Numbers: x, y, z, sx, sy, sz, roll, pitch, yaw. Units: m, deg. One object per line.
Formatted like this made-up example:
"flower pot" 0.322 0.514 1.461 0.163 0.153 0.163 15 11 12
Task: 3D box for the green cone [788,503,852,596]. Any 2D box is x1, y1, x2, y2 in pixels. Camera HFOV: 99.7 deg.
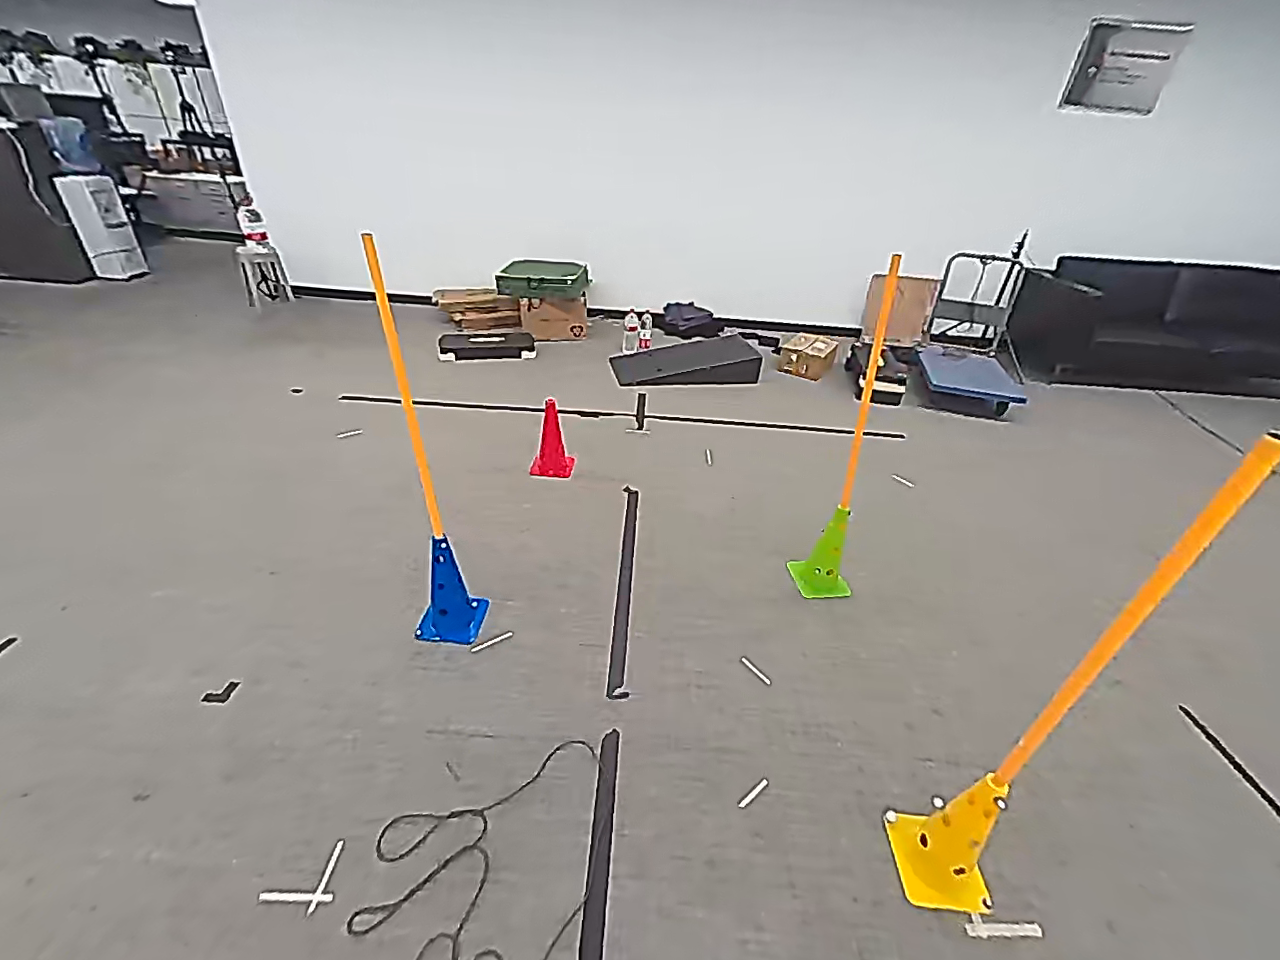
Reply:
"green cone" 0.715 0.236 2.027 0.200 0.368 0.202 -2 35 -9

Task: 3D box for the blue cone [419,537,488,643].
"blue cone" -0.615 0.331 1.735 0.193 0.380 0.192 6 33 2
